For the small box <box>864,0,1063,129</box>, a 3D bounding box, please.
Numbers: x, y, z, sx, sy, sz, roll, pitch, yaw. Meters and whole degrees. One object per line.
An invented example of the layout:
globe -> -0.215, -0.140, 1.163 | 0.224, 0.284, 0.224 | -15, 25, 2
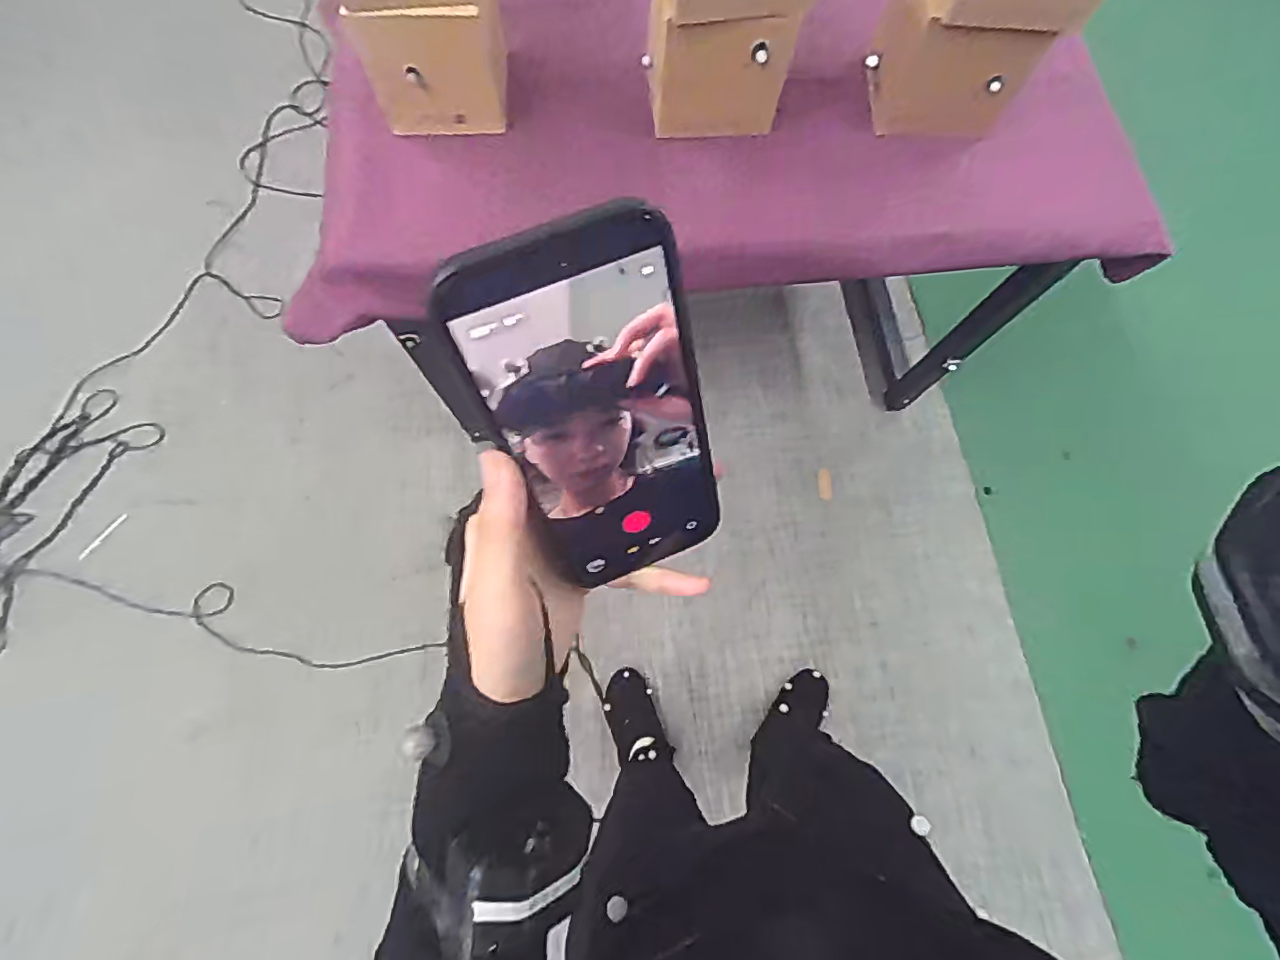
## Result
small box -> 0.445, -0.637, 0.771 | 0.179, 0.176, 0.168 | 3, 74, -1

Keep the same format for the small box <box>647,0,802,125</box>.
small box -> 0.105, -0.631, 0.755 | 0.179, 0.176, 0.168 | -3, 74, -3

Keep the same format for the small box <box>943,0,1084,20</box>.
small box -> 0.460, -0.667, 0.610 | 0.179, 0.176, 0.168 | 2, 74, -2

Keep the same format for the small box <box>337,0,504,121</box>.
small box -> -0.286, -0.628, 0.742 | 0.168, 0.176, 0.179 | -3, 74, -3
